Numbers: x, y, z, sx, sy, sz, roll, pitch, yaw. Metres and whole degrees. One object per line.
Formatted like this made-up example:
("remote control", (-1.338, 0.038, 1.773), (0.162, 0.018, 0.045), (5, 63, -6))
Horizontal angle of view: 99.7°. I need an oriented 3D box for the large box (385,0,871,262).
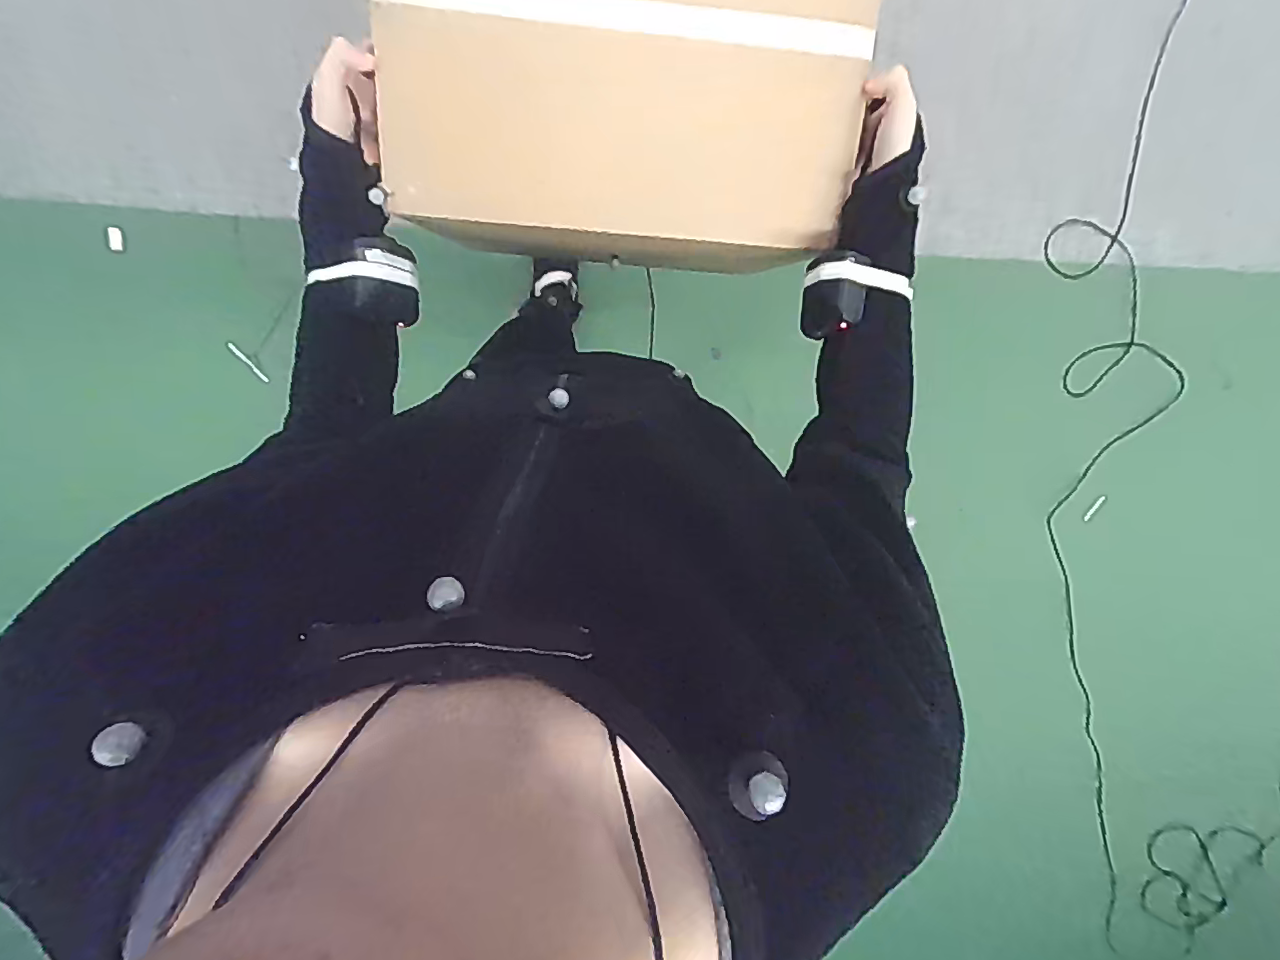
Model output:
("large box", (-0.015, -0.420, 0.587), (0.408, 0.320, 0.320), (3, 107, -5))
